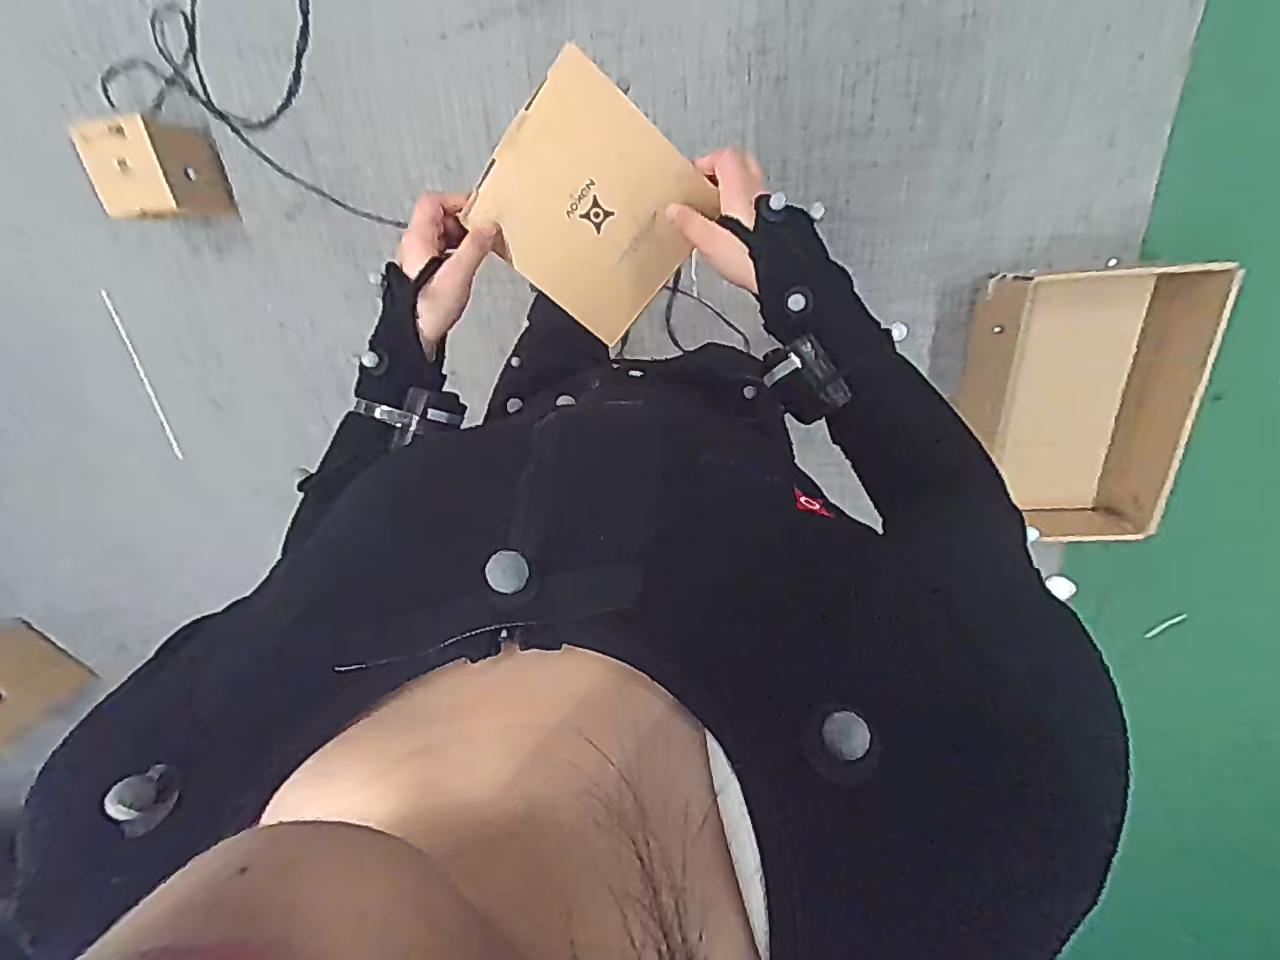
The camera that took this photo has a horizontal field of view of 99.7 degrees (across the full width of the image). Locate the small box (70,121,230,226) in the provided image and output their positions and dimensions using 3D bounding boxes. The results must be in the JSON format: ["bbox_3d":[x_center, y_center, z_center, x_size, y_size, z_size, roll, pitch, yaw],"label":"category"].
[{"bbox_3d":[-1.071,-0.673,1.203,0.168,0.176,0.179,-6,114,6],"label":"small box"}]

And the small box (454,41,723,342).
[{"bbox_3d":[-0.047,-0.270,0.533,0.179,0.176,0.168,35,114,-19],"label":"small box"}]
